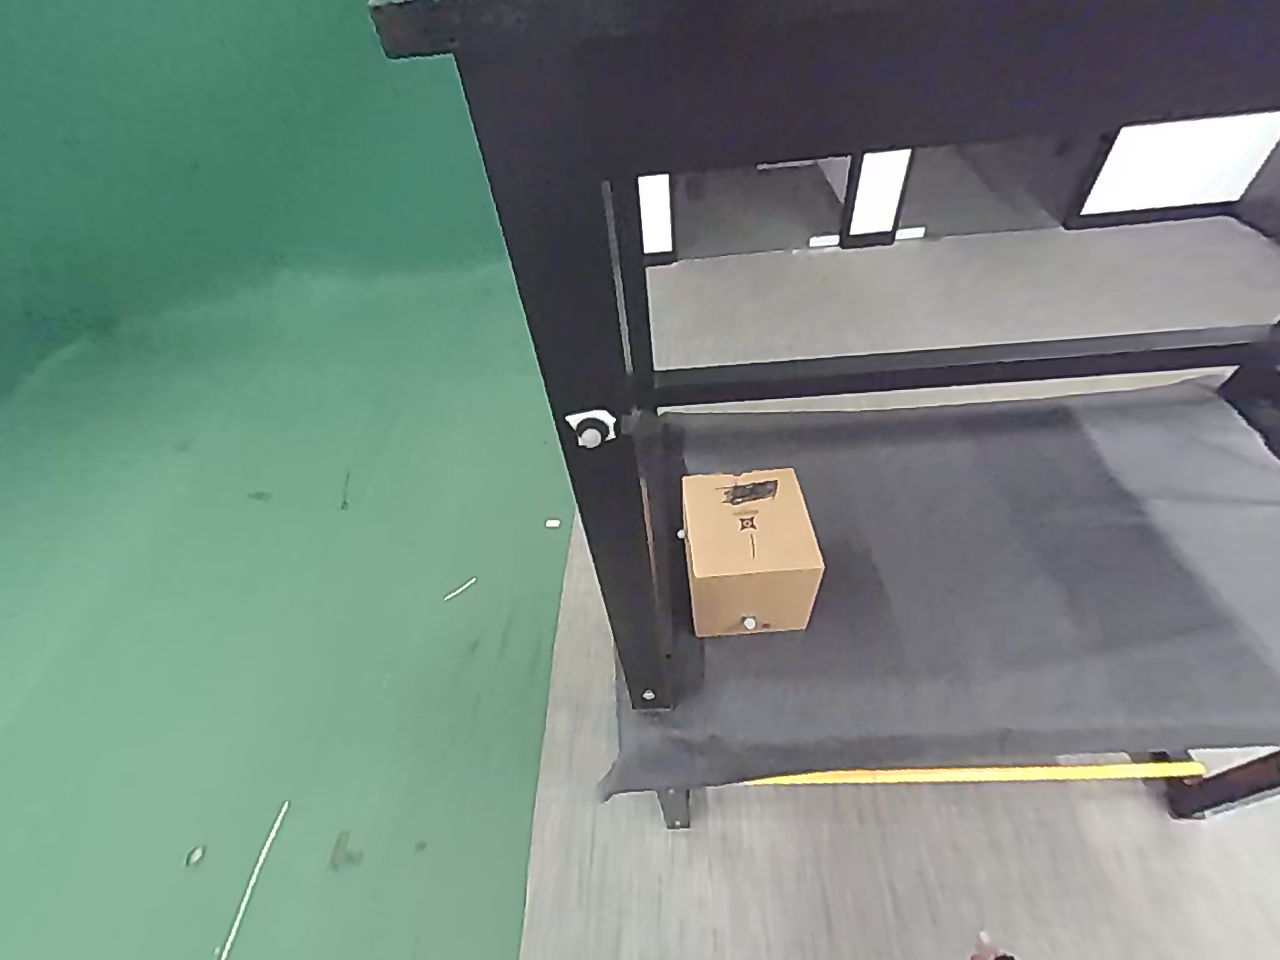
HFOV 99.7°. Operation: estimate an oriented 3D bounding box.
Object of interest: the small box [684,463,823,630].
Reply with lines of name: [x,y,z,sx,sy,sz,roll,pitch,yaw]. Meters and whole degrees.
small box: [0.152,0.098,0.792,0.168,0.176,0.179,-5,48,2]
